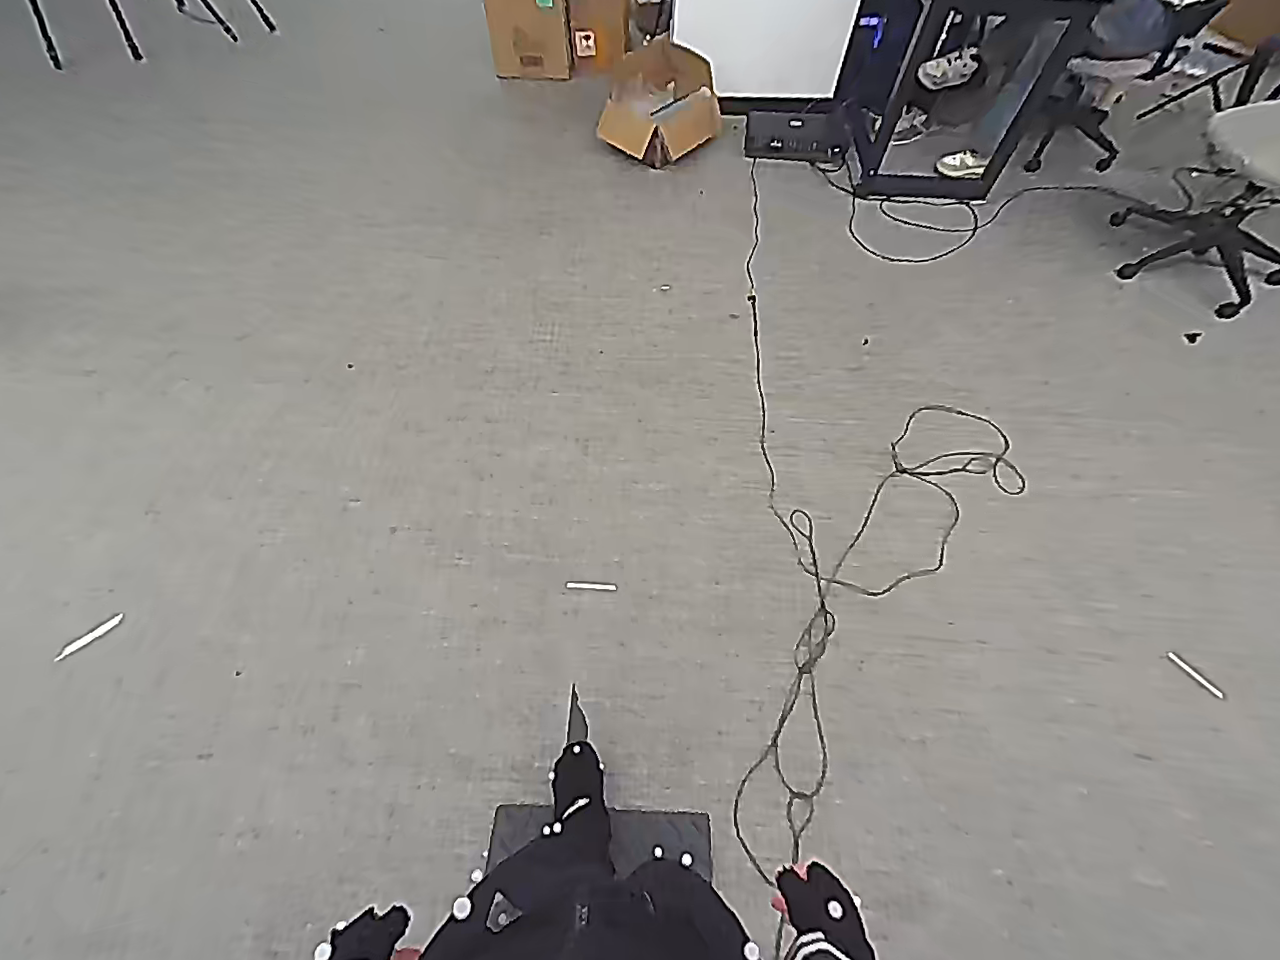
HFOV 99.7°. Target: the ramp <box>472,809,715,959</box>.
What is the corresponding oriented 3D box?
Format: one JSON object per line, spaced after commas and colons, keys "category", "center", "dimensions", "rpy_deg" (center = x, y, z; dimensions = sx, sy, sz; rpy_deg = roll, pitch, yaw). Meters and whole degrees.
{"category": "ramp", "center": [-0.103, 1.146, 0.924], "dimensions": [0.509, 0.206, 0.991], "rpy_deg": [0, 60, 1]}
